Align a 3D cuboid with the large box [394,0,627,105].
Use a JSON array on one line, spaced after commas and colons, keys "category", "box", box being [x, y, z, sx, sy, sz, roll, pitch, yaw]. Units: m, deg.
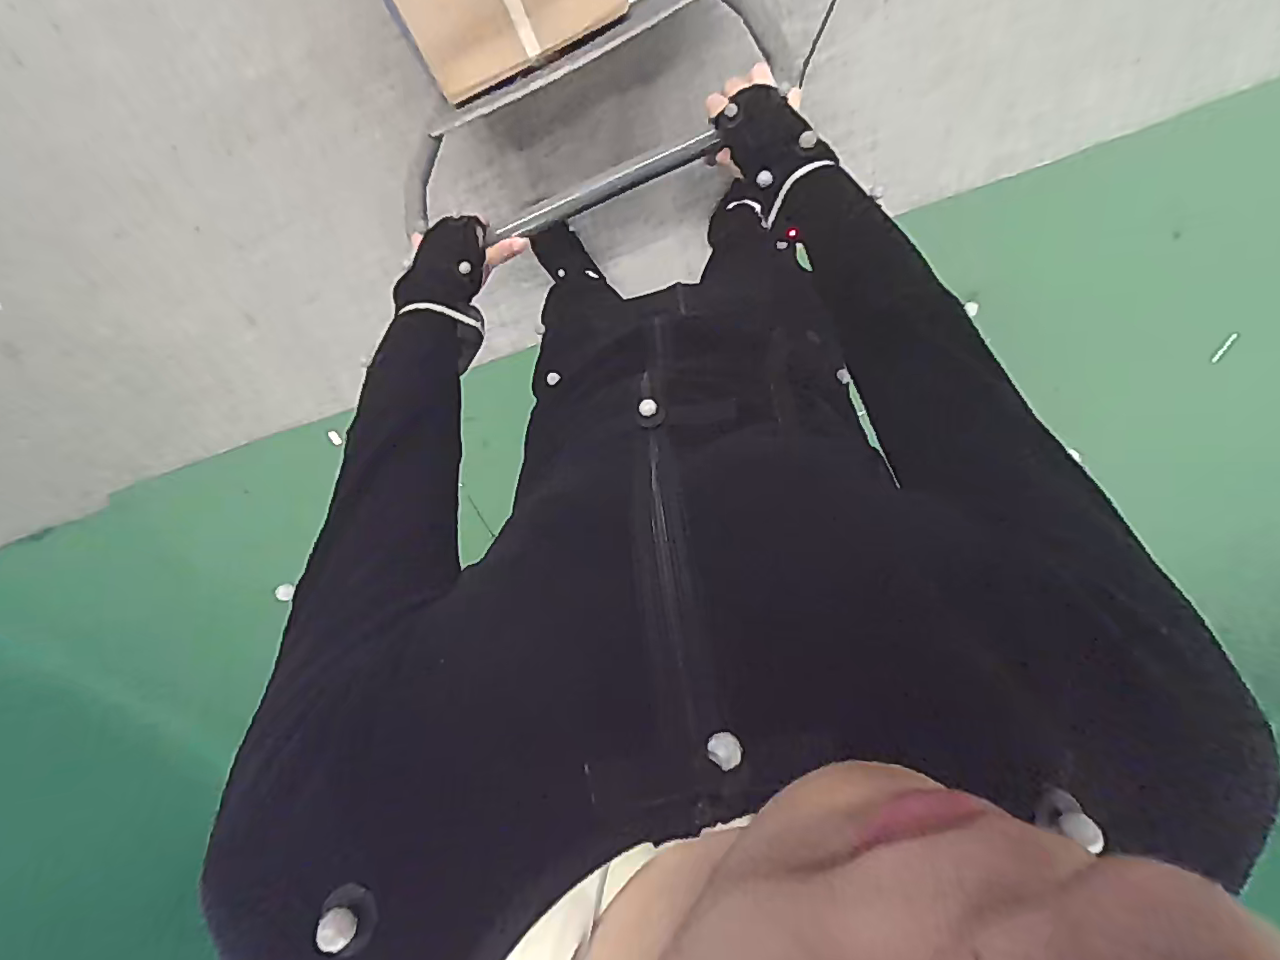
[{"category": "large box", "box": [-0.243, -0.875, 0.804, 0.320, 0.320, 0.408, -19, 134, 12]}]
